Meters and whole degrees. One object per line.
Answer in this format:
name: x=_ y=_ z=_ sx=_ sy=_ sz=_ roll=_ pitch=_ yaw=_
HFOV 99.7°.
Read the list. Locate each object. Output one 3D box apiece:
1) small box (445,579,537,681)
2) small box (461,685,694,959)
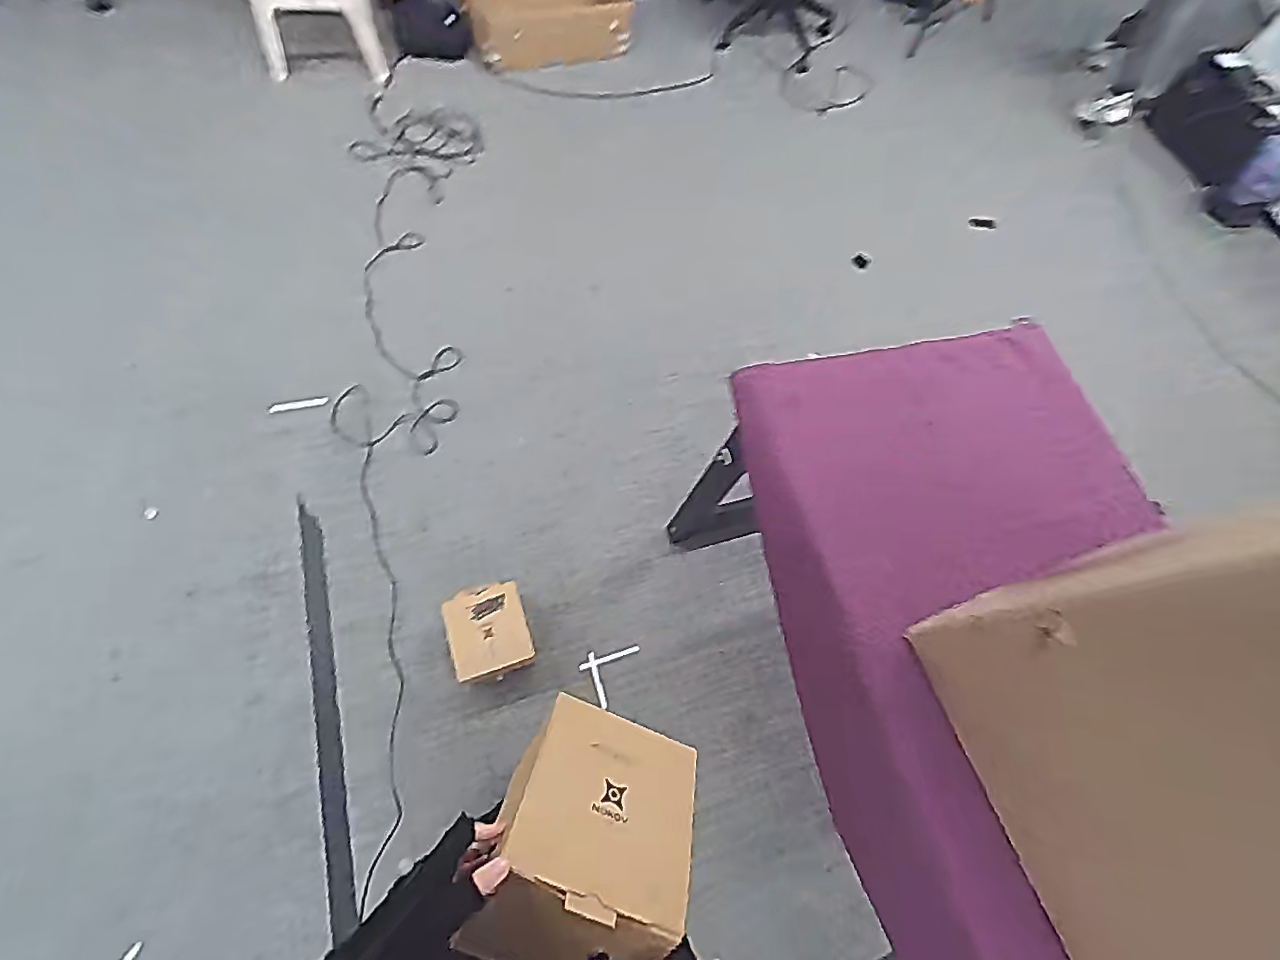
small box: x=-0.339 y=0.350 z=1.246 sx=0.168 sy=0.176 sz=0.179 roll=-15 pitch=72 yaw=-16
small box: x=-0.060 y=0.353 z=0.541 sx=0.168 sy=0.176 sz=0.179 roll=25 pitch=27 yaw=-5
